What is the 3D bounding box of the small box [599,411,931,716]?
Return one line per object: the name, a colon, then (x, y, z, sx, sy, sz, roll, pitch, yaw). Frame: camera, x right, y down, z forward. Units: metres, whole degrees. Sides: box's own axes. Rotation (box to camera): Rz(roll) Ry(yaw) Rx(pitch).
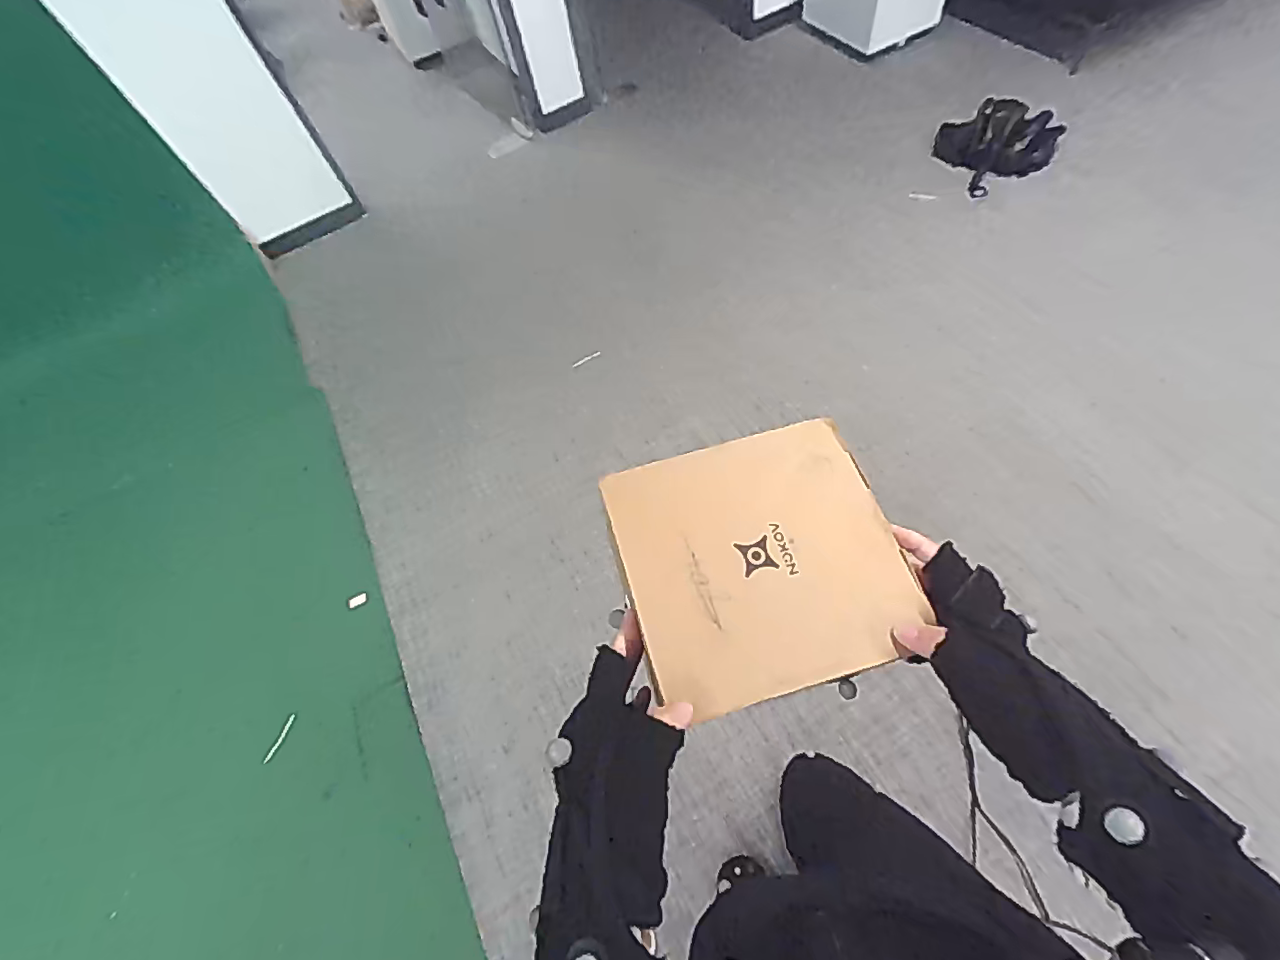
small box: (0.077, 0.075, 0.426, 0.179, 0.176, 0.168, -17, 66, -4)
